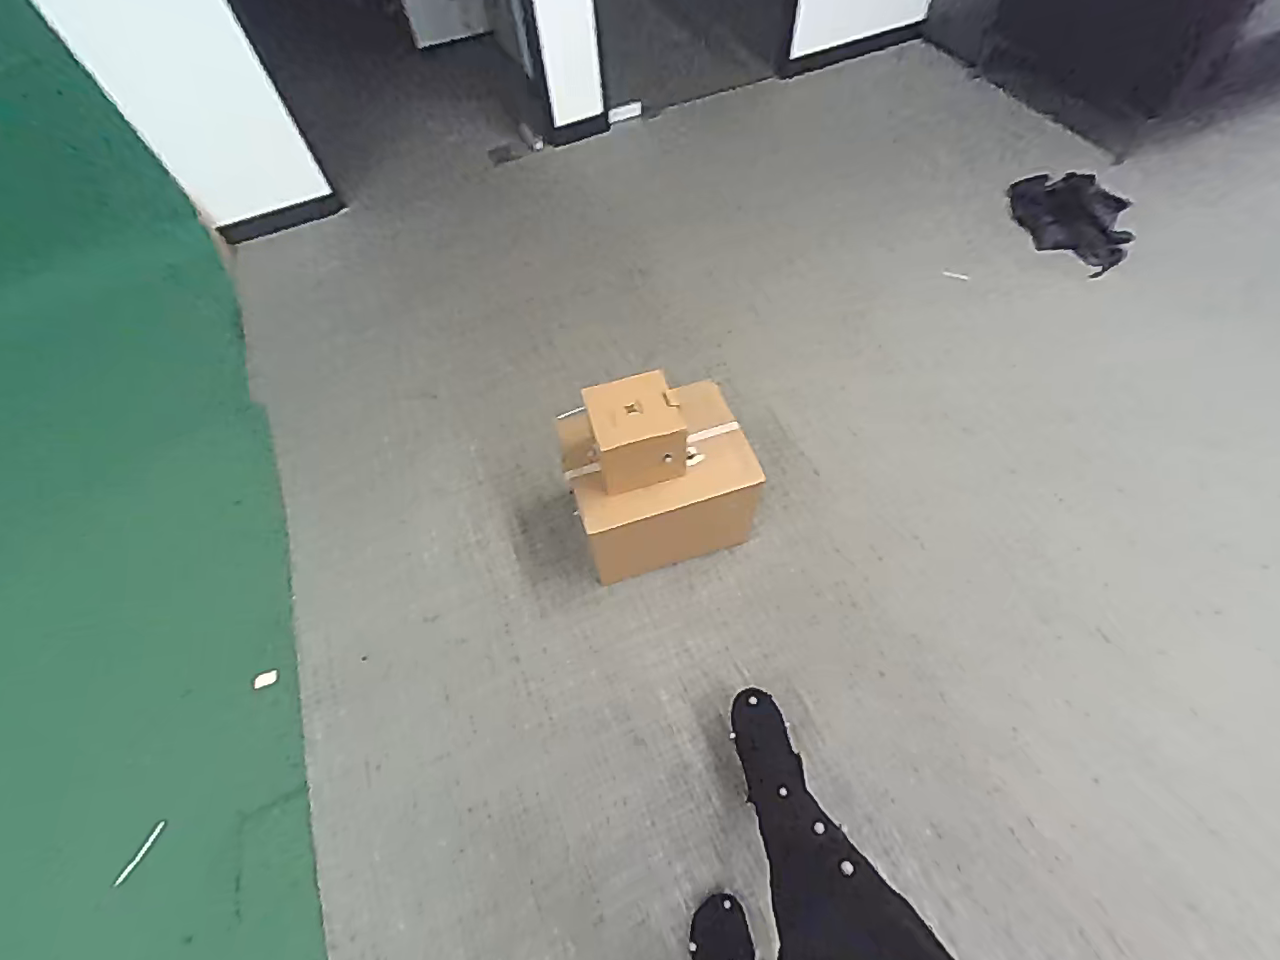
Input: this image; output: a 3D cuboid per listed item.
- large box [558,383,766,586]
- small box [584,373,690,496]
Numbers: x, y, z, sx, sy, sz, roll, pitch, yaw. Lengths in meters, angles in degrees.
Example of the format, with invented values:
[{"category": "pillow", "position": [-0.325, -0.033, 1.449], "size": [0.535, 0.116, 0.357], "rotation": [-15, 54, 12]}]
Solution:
[{"category": "large box", "position": [0.044, 0.019, 1.341], "size": [0.408, 0.320, 0.320], "rotation": [-16, 60, -8]}, {"category": "small box", "position": [-0.005, -0.091, 1.125], "size": [0.179, 0.176, 0.168], "rotation": [-16, 58, -6]}]
